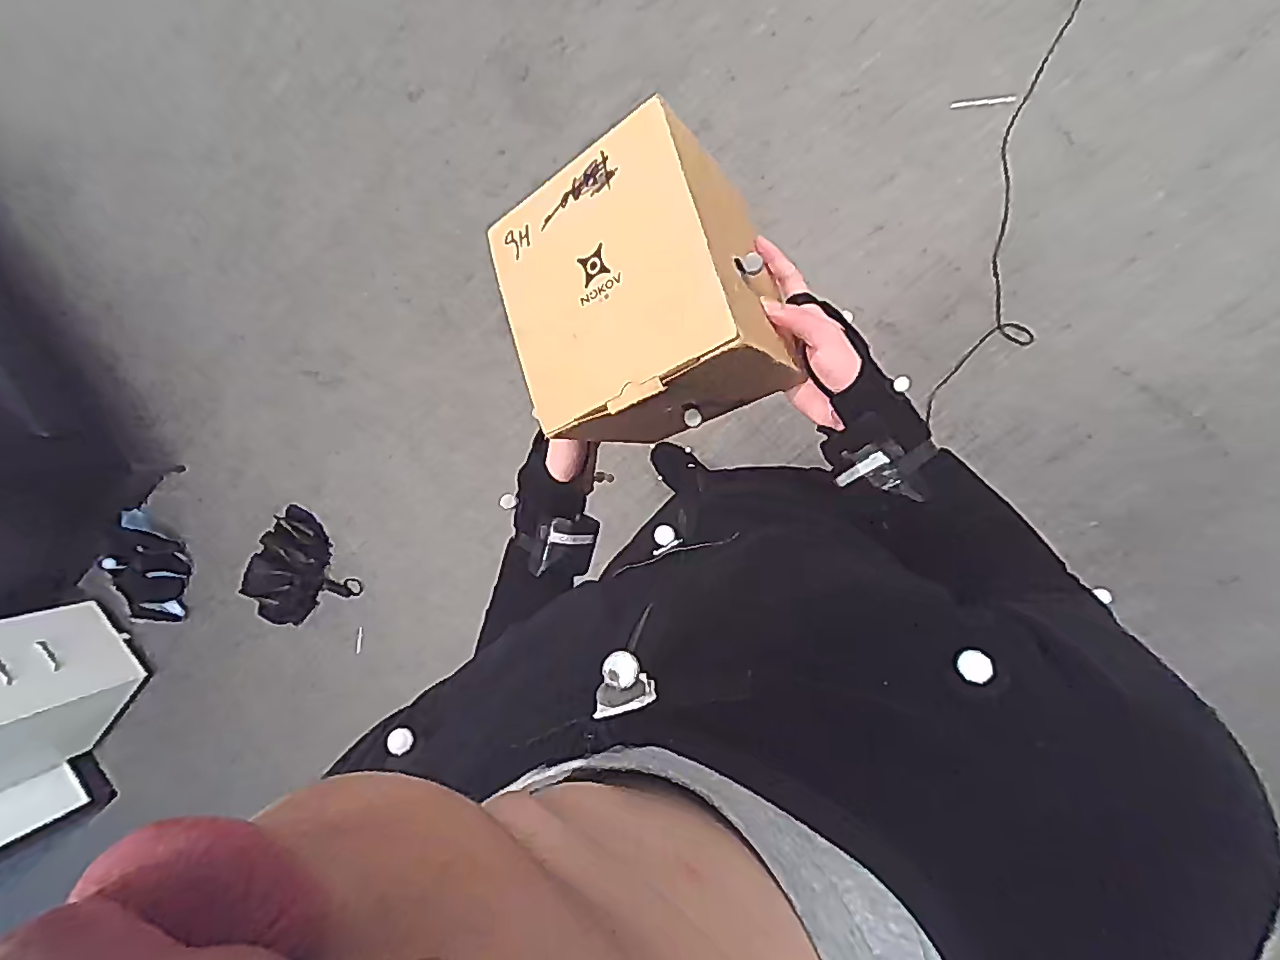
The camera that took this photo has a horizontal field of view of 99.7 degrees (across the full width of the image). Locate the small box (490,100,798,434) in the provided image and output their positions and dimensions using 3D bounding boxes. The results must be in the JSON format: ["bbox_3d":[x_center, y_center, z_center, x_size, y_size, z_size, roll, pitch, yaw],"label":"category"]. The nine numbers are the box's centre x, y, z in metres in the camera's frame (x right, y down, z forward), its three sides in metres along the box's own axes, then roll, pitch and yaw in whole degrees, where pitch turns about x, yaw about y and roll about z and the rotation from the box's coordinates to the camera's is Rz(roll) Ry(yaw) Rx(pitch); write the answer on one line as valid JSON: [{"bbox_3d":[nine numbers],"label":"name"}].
[{"bbox_3d":[0.013,-0.146,0.446,0.168,0.176,0.179,-21,82,29],"label":"small box"}]
